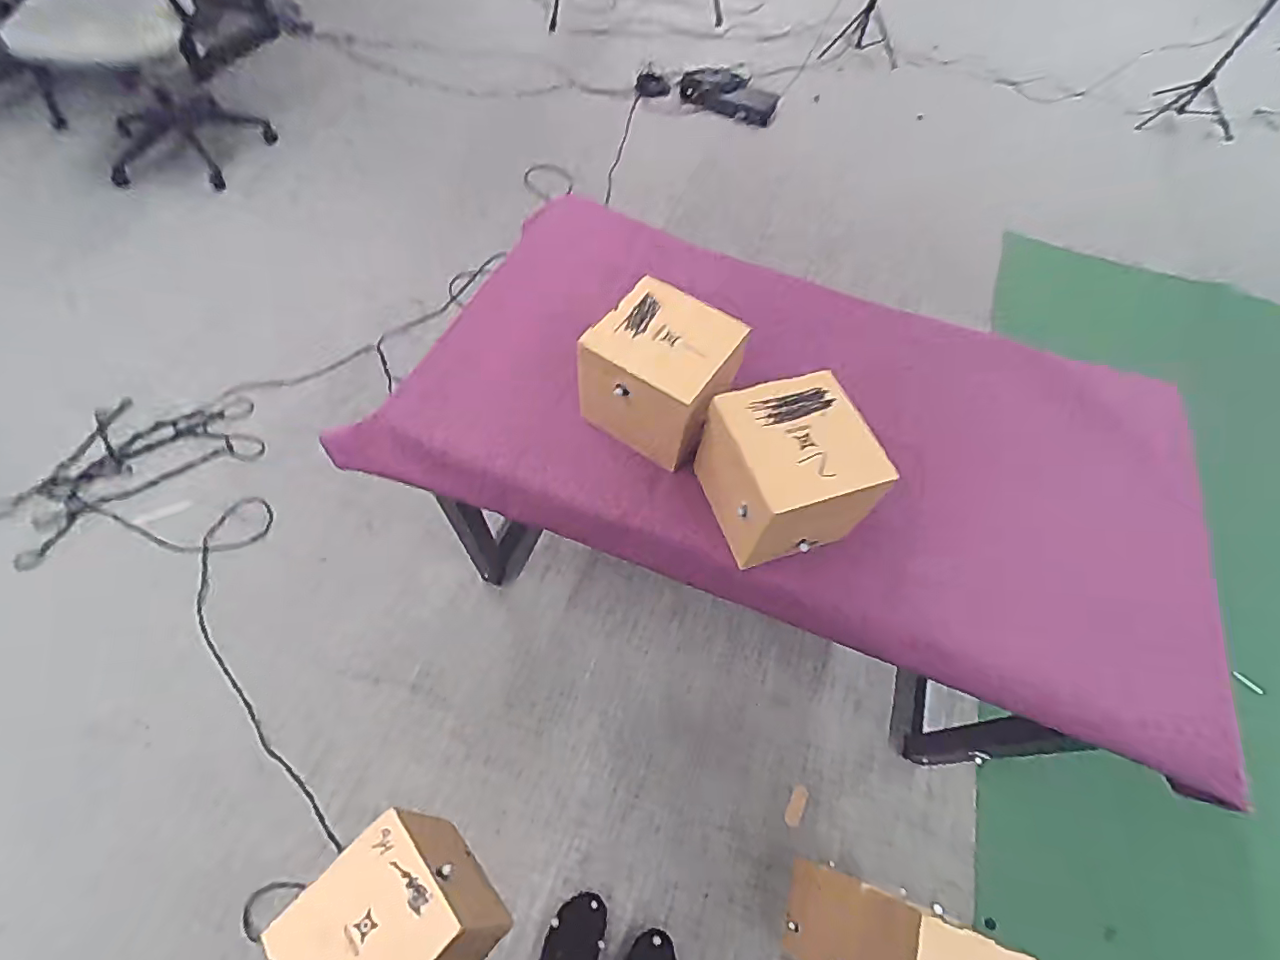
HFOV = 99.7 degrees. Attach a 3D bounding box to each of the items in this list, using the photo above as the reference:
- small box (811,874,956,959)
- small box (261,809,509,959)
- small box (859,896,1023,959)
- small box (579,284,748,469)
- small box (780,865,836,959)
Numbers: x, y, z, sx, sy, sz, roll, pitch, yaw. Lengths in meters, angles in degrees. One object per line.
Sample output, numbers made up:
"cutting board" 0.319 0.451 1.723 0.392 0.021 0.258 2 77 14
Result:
"small box" 0.405 0.805 0.916 0.168 0.176 0.179 19 62 7
"small box" -0.289 0.536 0.641 0.179 0.176 0.168 -41 56 -20
"small box" 0.425 0.735 0.768 0.168 0.176 0.179 19 61 7
"small box" 0.028 -0.145 0.794 0.179 0.176 0.168 32 63 13
"small box" 0.391 0.883 1.057 0.179 0.176 0.168 21 61 8
